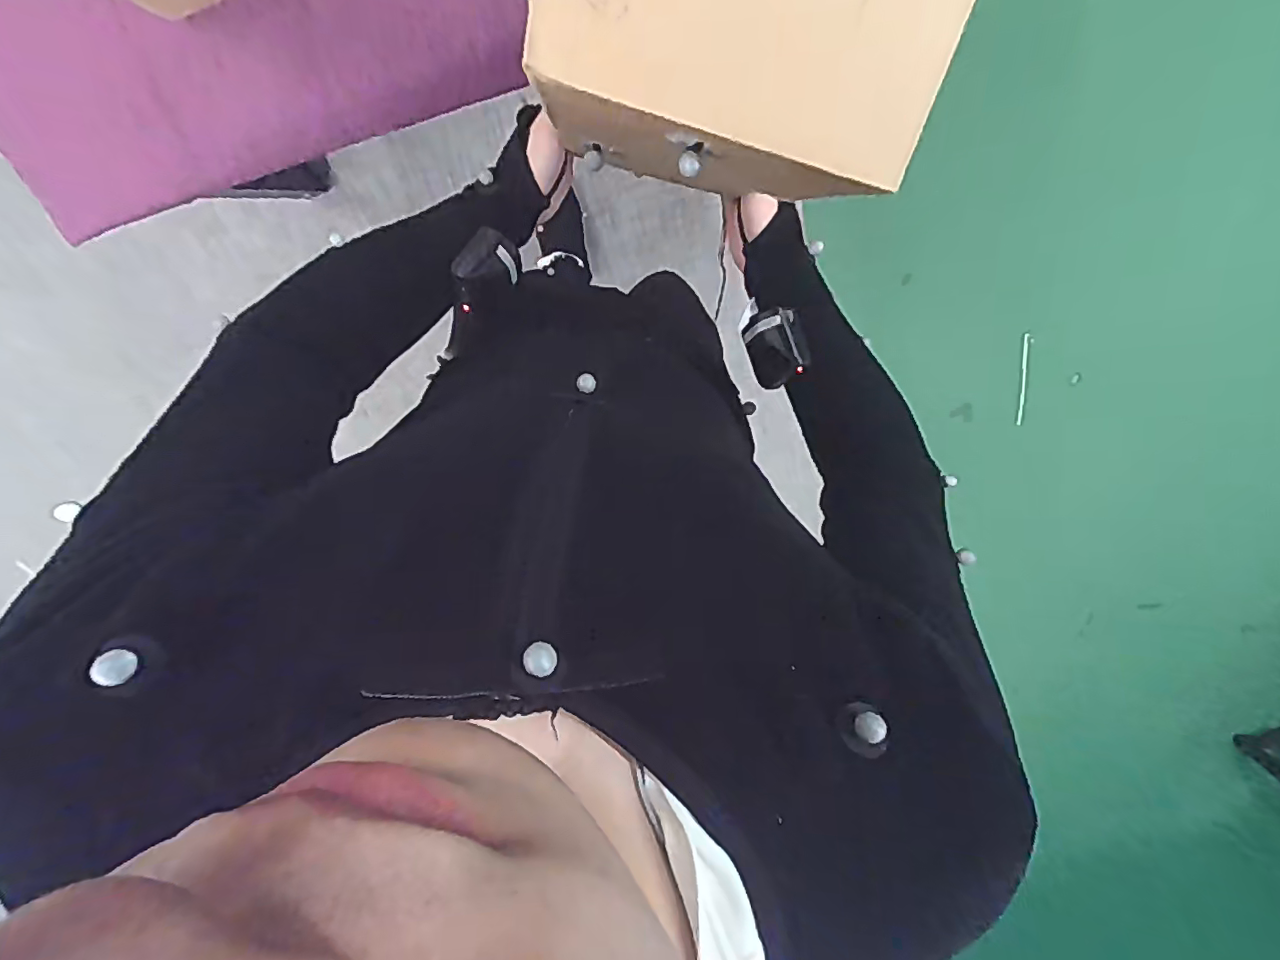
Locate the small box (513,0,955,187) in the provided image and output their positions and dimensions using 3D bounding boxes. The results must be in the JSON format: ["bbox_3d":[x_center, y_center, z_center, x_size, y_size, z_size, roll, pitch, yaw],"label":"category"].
[{"bbox_3d":[0.047,-0.262,0.278,0.179,0.176,0.168,12,116,-9],"label":"small box"}]

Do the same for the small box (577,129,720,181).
[{"bbox_3d":[0.030,-0.423,0.562,0.179,0.176,0.168,10,115,-9],"label":"small box"}]
